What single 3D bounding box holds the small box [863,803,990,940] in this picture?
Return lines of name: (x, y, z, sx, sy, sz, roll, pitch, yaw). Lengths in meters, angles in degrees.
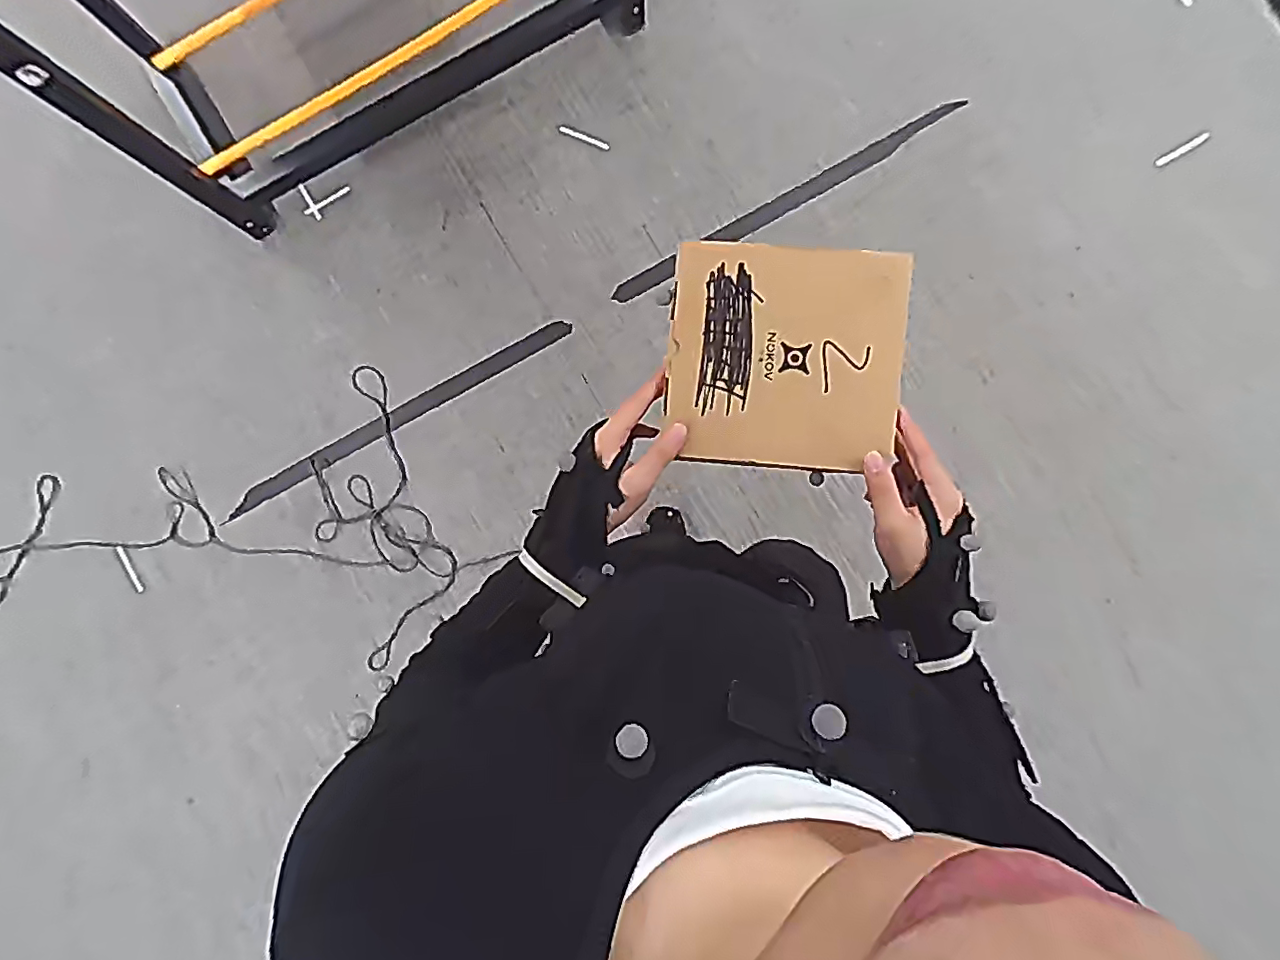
small box: (0.662, 0.903, 1.274, 0.168, 0.176, 0.179, -32, 89, -1)
